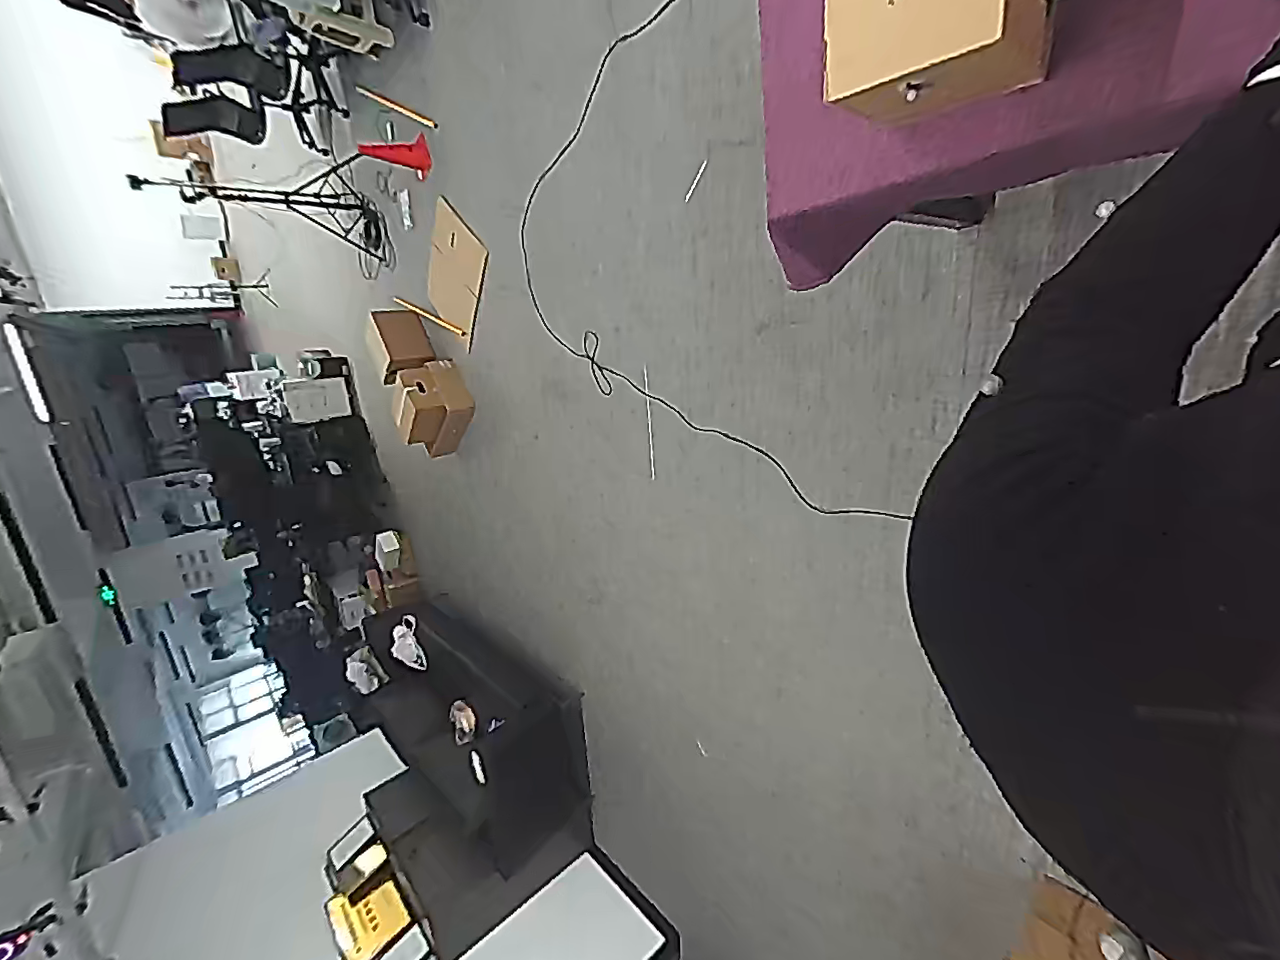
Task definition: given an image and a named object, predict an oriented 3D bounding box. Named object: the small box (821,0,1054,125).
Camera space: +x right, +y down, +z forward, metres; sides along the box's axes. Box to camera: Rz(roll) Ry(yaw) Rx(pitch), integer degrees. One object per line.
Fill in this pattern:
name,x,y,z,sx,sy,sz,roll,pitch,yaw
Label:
small box,0.317,-0.505,0.578,0.179,0.176,0.168,14,115,46
